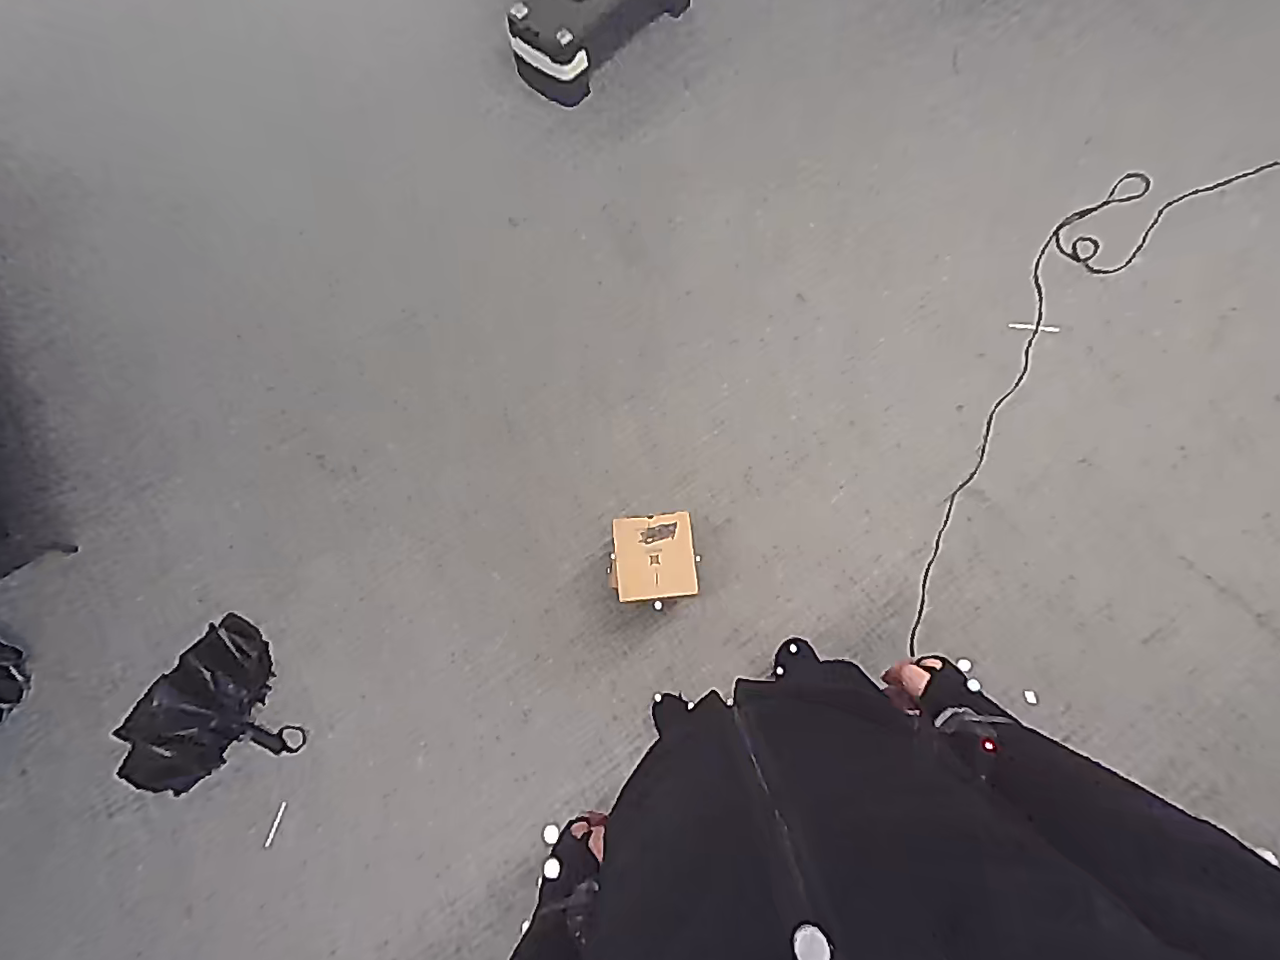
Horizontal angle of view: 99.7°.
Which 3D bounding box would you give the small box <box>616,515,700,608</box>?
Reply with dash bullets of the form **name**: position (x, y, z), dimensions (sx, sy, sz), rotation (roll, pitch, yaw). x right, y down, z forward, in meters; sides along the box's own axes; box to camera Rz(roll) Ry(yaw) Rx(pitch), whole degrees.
- **small box**: position (0.040, 0.187, 1.208), dimensions (0.168, 0.176, 0.179), rotation (-6, 75, 3)
